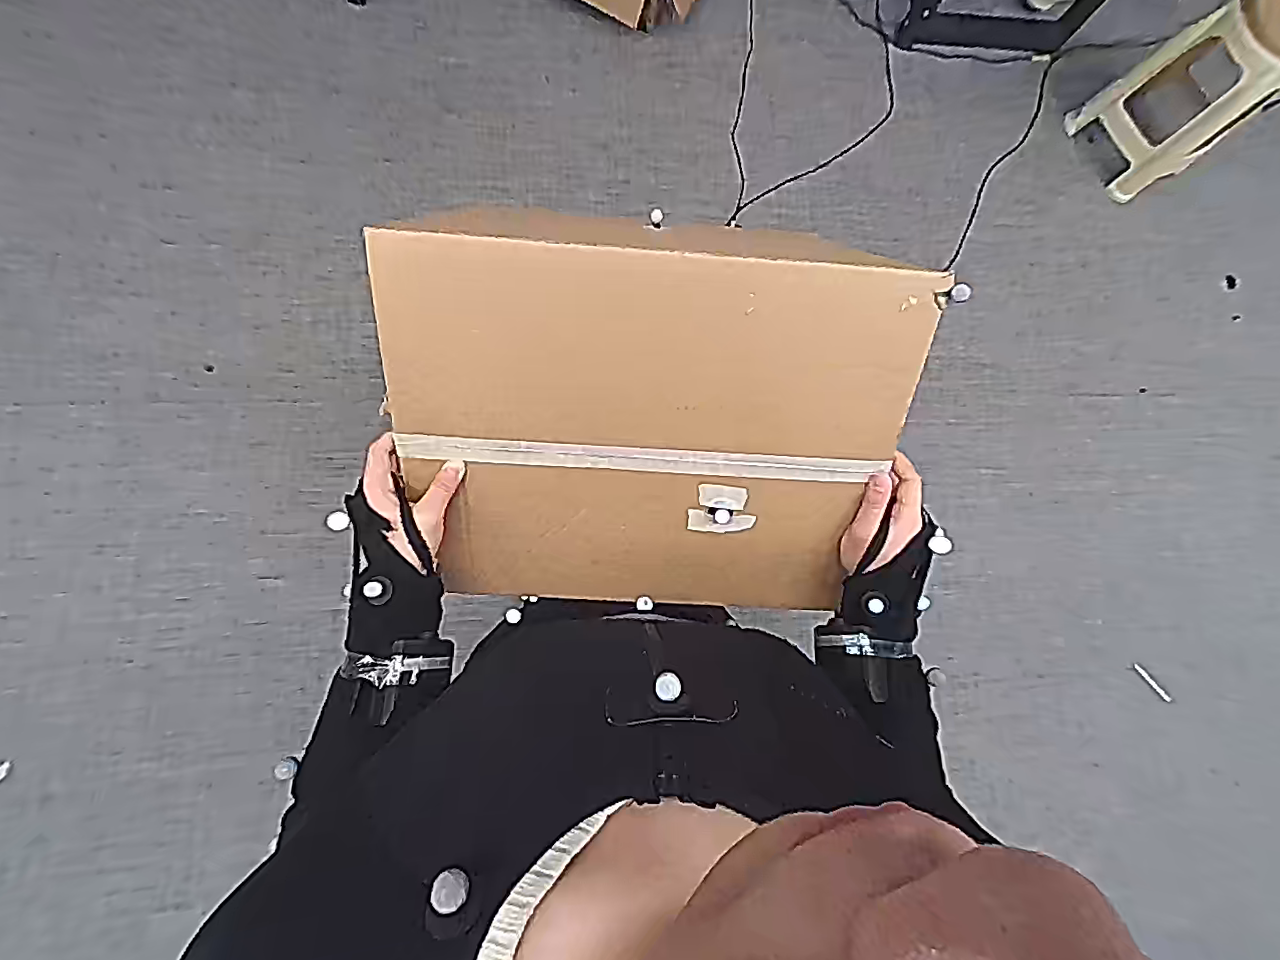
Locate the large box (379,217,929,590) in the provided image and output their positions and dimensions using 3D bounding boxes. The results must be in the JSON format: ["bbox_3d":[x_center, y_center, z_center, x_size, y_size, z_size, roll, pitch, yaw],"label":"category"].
[{"bbox_3d":[0.001,-0.099,0.585,0.408,0.320,0.320,2,121,-4],"label":"large box"}]
